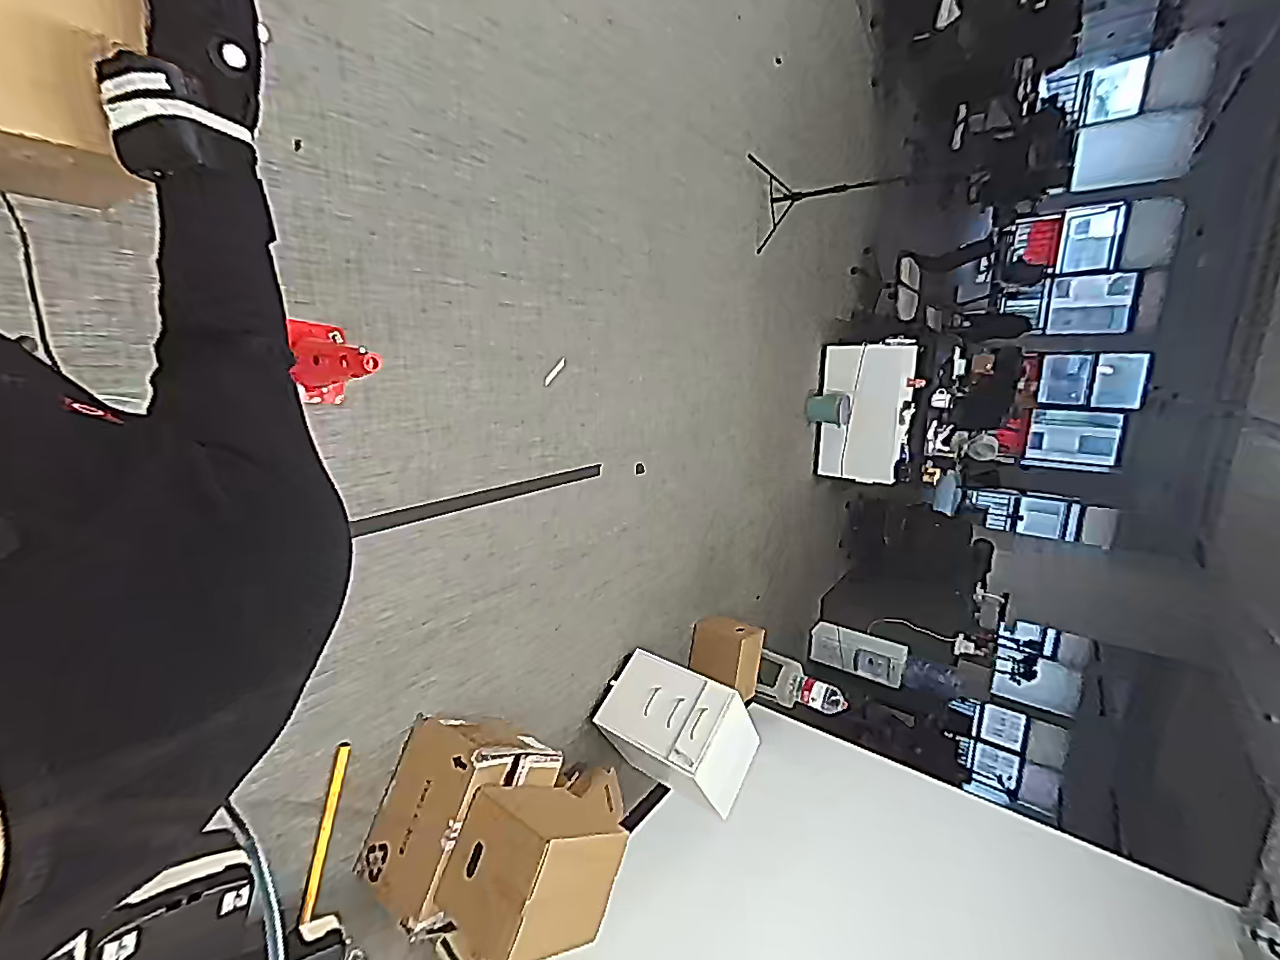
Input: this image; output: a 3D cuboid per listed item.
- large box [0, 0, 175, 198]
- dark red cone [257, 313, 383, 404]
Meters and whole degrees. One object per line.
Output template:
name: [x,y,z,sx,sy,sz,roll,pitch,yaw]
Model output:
large box: [-0.586,-0.394,0.314,0.408,0.320,0.320,-13,112,-51]
dark red cone: [-0.691,-0.267,1.221,0.201,0.394,0.202,-6,103,-51]
